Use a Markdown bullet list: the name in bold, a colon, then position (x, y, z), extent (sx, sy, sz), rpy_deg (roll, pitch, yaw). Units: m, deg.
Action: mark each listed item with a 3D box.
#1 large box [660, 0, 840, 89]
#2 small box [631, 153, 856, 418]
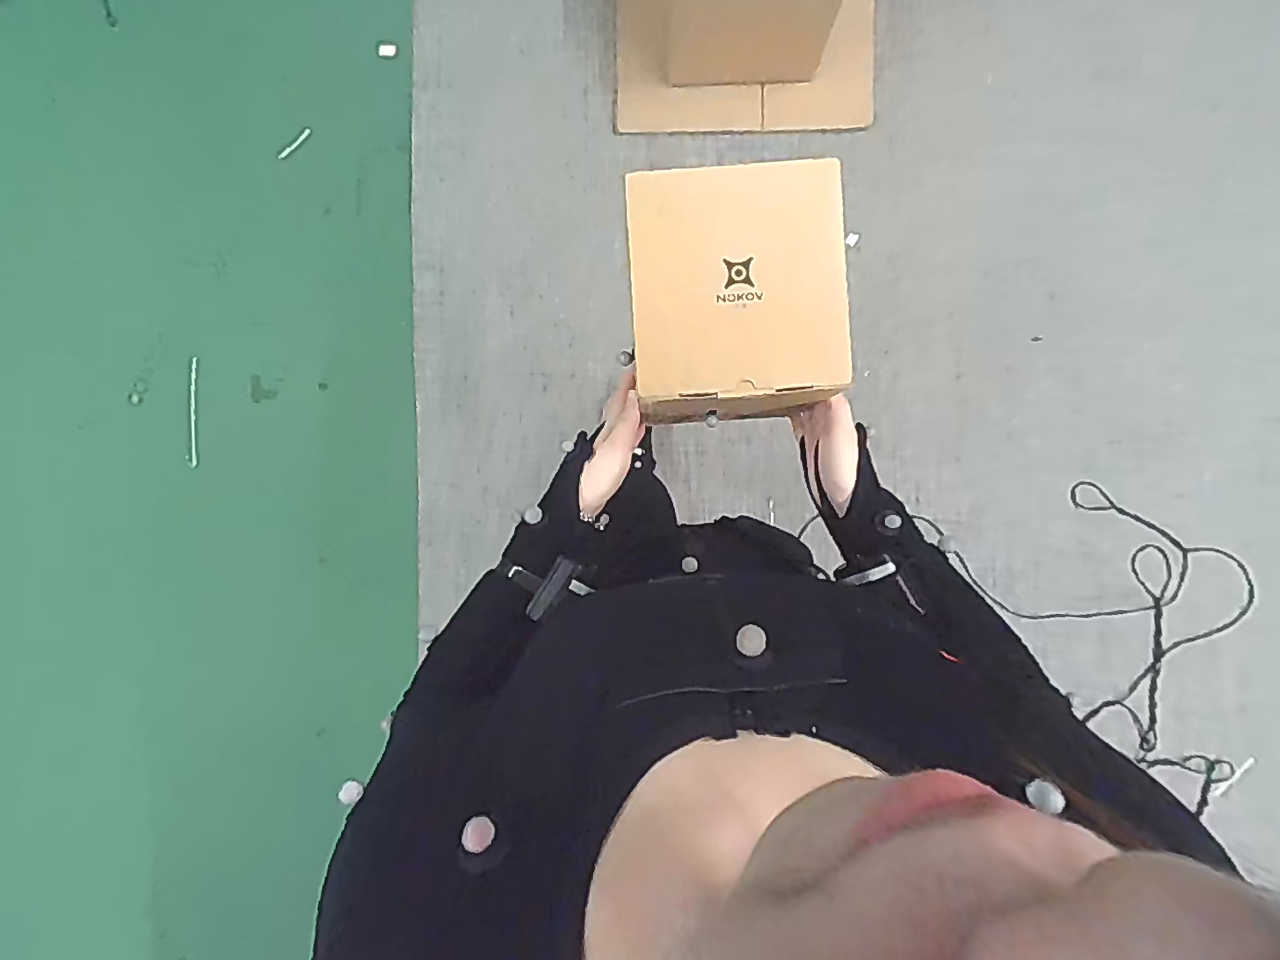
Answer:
- **large box**: position (0.255, -1.230, 1.332), extent (0.408, 0.320, 0.320), rpy_deg (-2, 90, 1)
- **small box**: position (0.077, -0.157, 0.489), extent (0.168, 0.176, 0.179), rpy_deg (-4, 90, 0)
